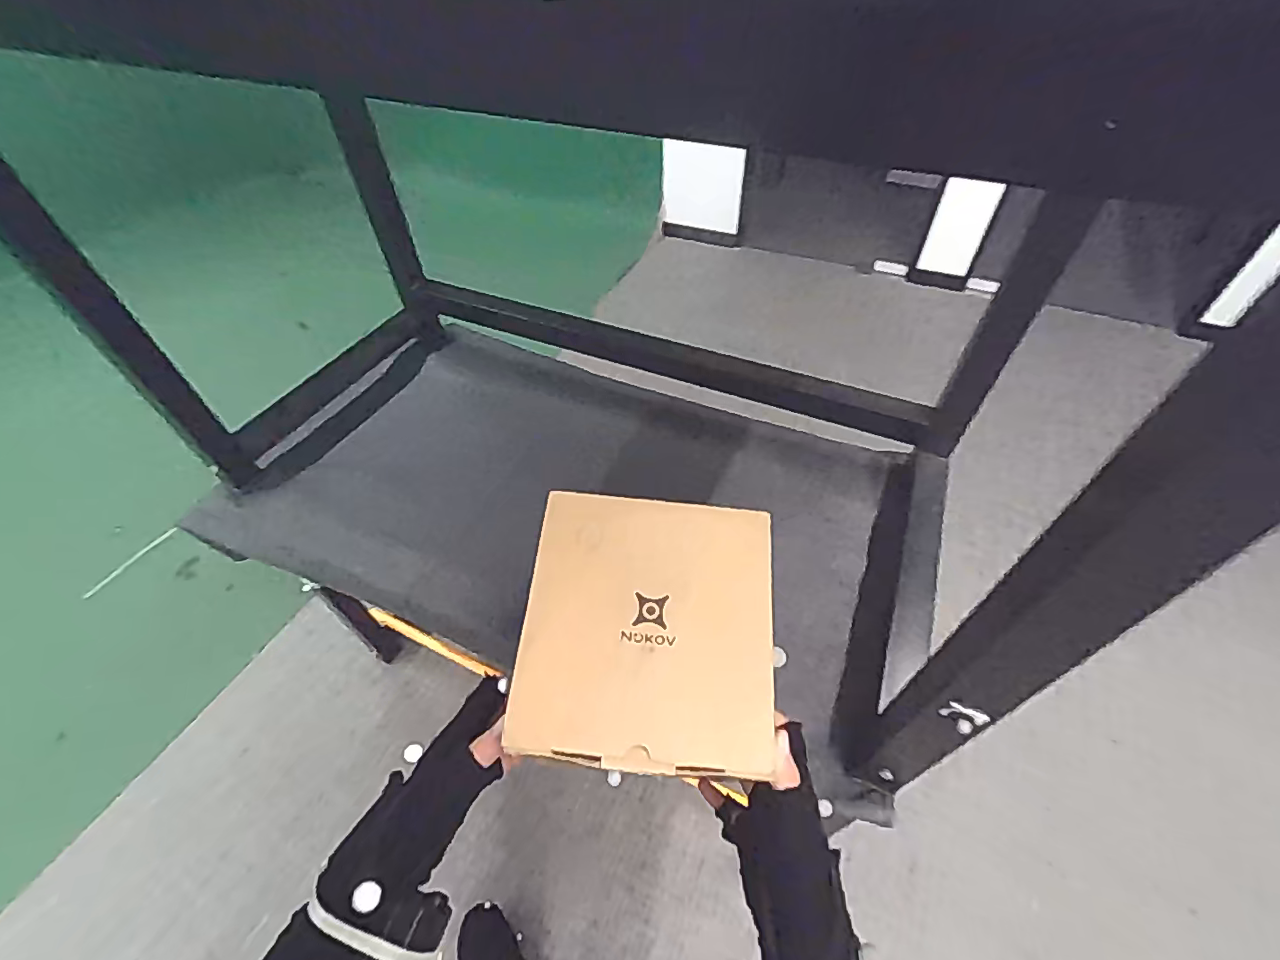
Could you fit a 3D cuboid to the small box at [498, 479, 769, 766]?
[{"bbox_3d":[-0.001,0.120,0.429,0.168,0.176,0.179,5,62,1],"label":"small box"}]
